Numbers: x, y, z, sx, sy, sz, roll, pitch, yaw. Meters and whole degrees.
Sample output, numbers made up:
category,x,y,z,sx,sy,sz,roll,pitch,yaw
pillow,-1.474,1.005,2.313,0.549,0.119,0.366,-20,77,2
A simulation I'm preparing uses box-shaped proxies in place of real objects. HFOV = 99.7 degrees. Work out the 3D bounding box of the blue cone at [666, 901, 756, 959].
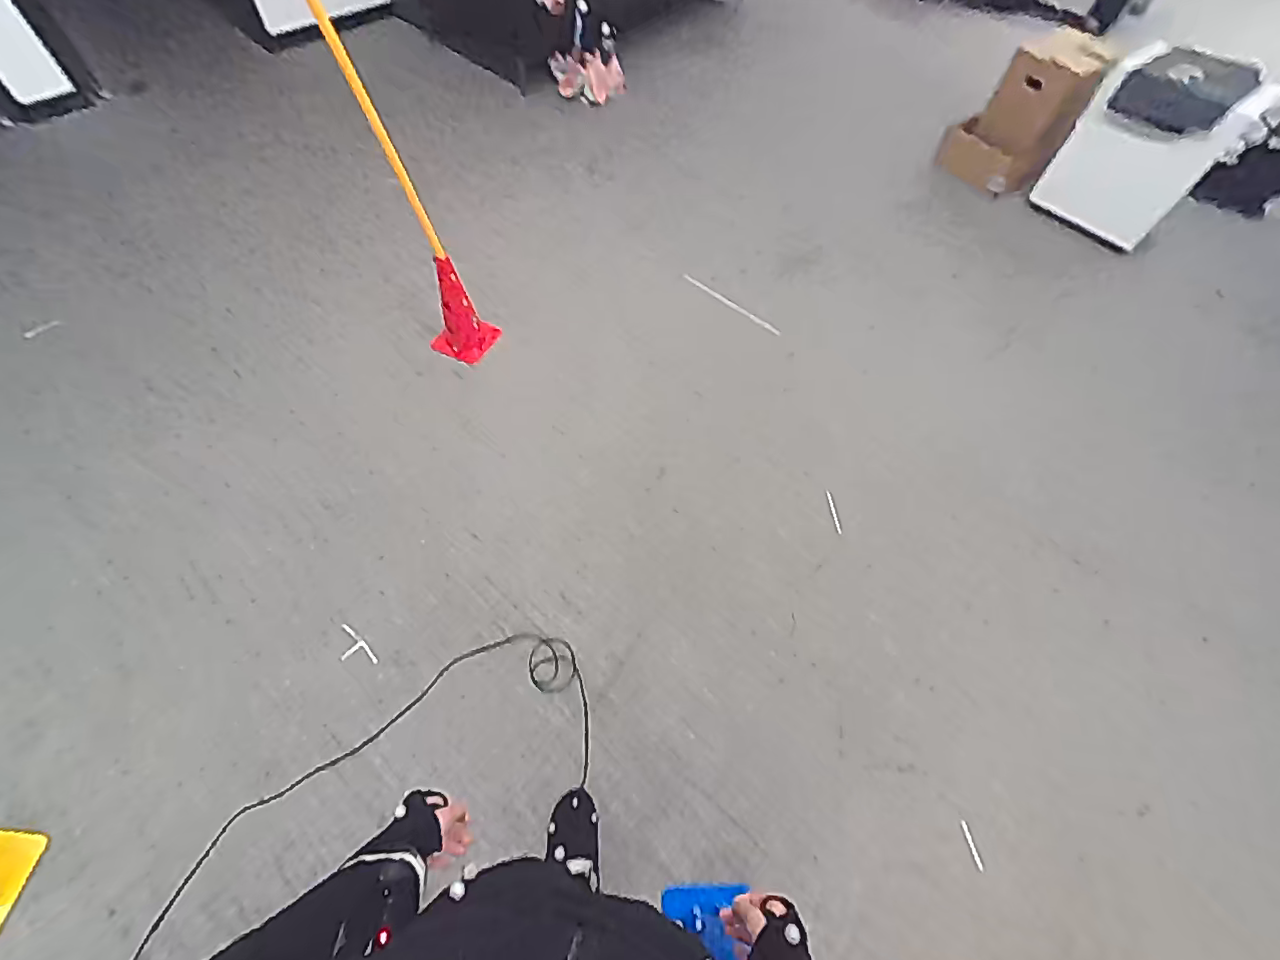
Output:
category,x,y,z,sx,sy,sz,roll,pitch,yaw
blue cone,0.161,0.890,0.959,0.193,0.380,0.192,0,57,-5
